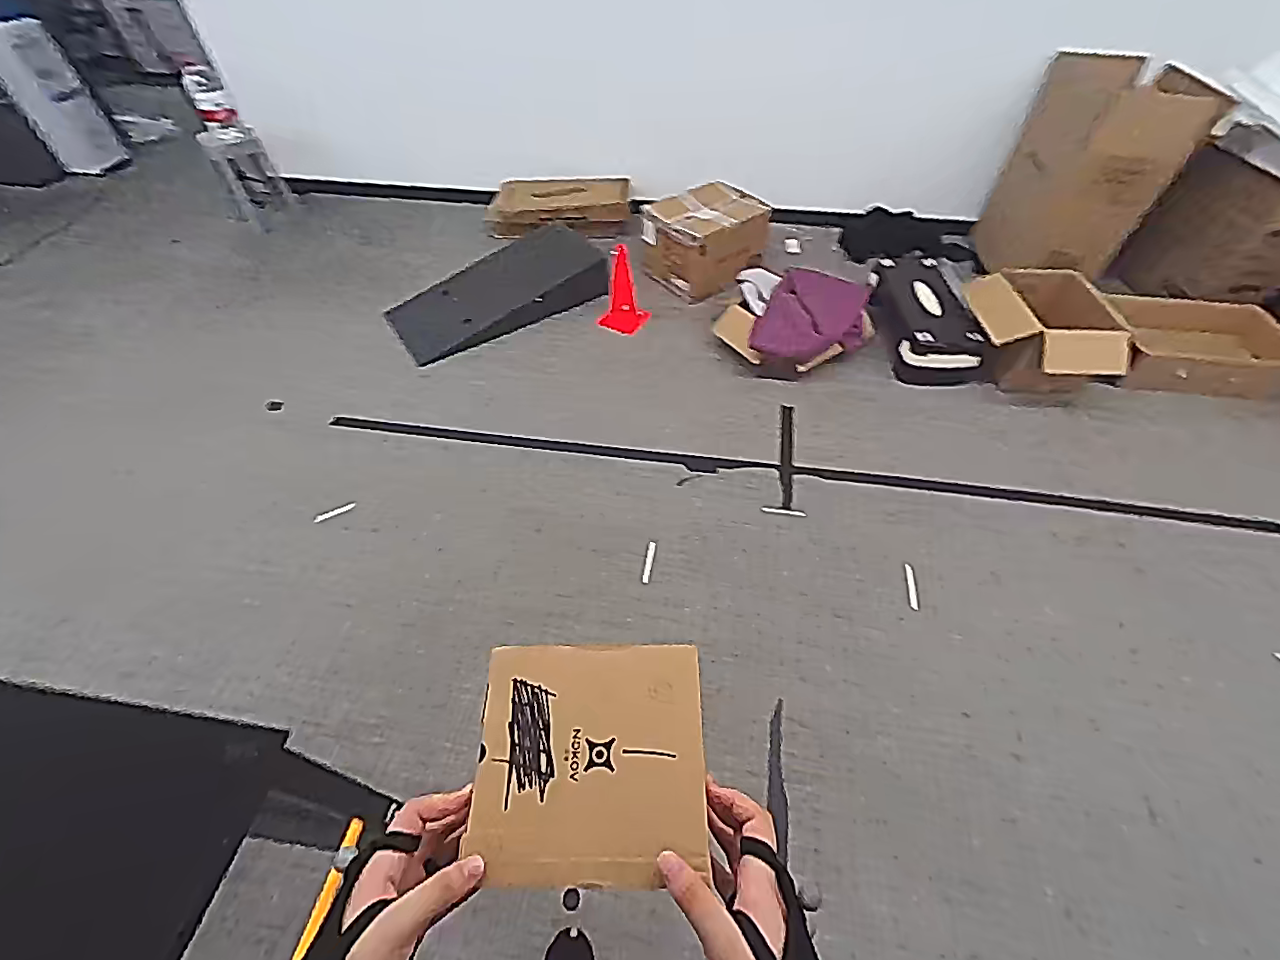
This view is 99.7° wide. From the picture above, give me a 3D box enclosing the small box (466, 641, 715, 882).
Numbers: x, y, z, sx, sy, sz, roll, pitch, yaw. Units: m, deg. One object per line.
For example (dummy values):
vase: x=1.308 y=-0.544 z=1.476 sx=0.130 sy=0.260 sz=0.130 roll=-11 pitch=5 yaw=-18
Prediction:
small box: x=-0.029 y=0.250 z=0.478 sx=0.179 sy=0.176 sz=0.168 roll=-1 pitch=55 yaw=2
